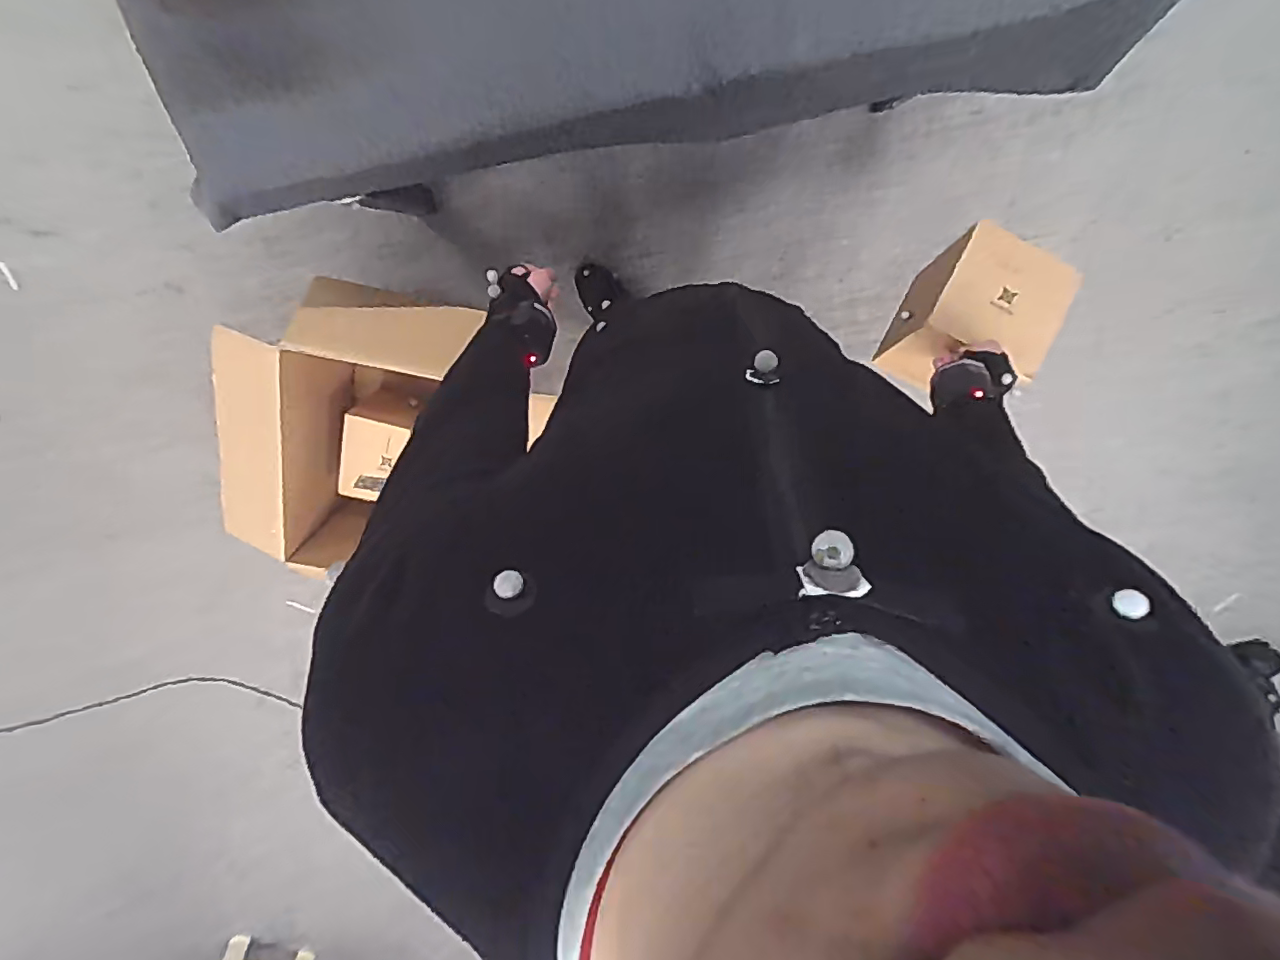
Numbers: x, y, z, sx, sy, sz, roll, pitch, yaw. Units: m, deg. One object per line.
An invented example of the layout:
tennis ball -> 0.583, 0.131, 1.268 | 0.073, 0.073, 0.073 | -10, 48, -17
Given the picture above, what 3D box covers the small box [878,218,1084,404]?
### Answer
small box -> 0.488, -0.236, 0.805 | 0.168, 0.176, 0.179 | 30, 83, -1
